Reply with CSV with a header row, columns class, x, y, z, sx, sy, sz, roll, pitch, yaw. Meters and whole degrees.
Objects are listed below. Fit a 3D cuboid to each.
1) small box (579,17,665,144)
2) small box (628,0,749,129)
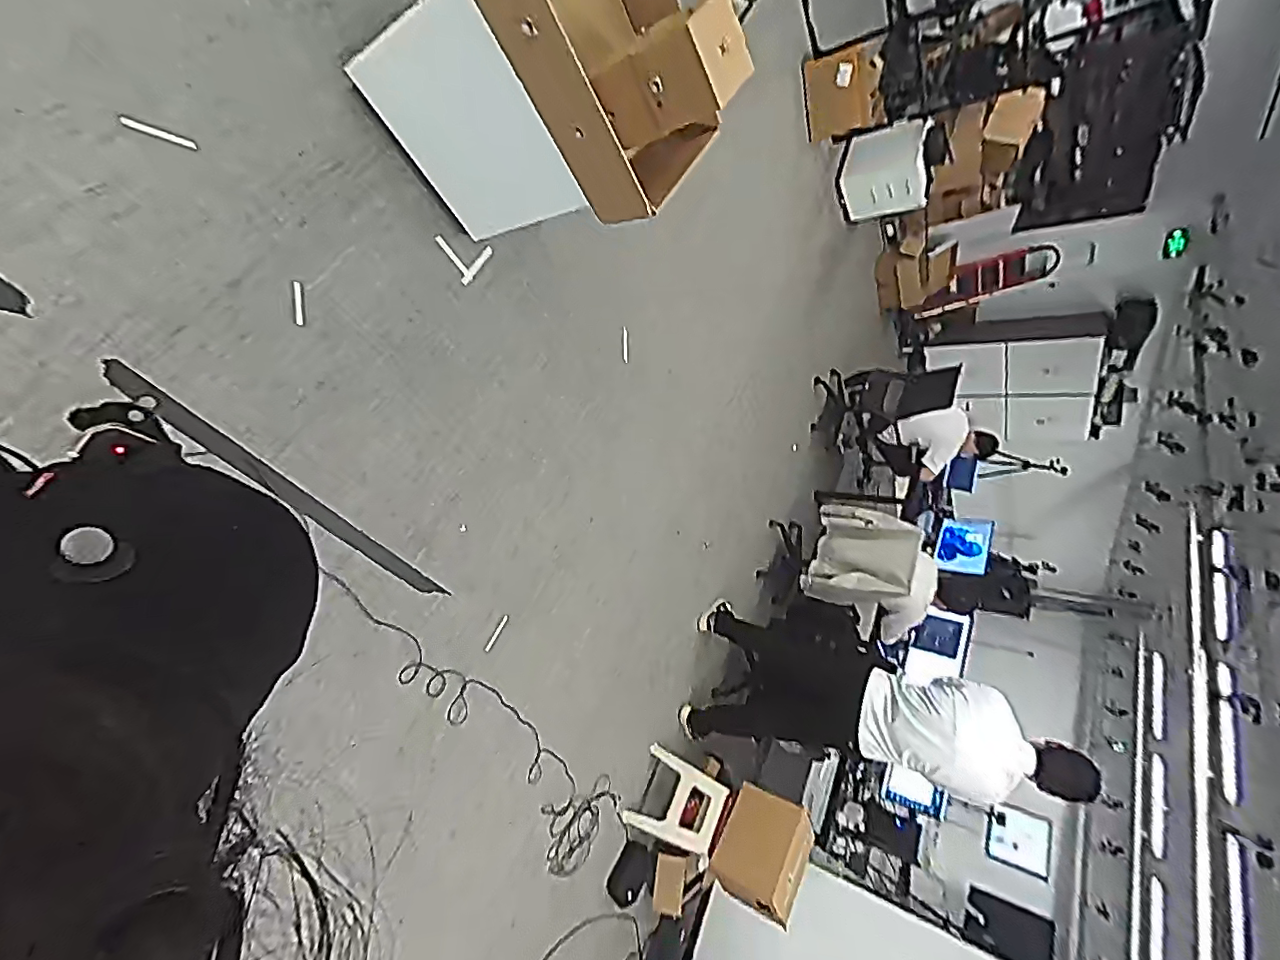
class,x,y,z,sx,sy,sz,roll,pitch,yaw
small box,-0.011,-0.935,1.287,0.168,0.176,0.179,-59,135,-22
small box,0.105,-0.909,1.174,0.168,0.176,0.179,50,63,-39
